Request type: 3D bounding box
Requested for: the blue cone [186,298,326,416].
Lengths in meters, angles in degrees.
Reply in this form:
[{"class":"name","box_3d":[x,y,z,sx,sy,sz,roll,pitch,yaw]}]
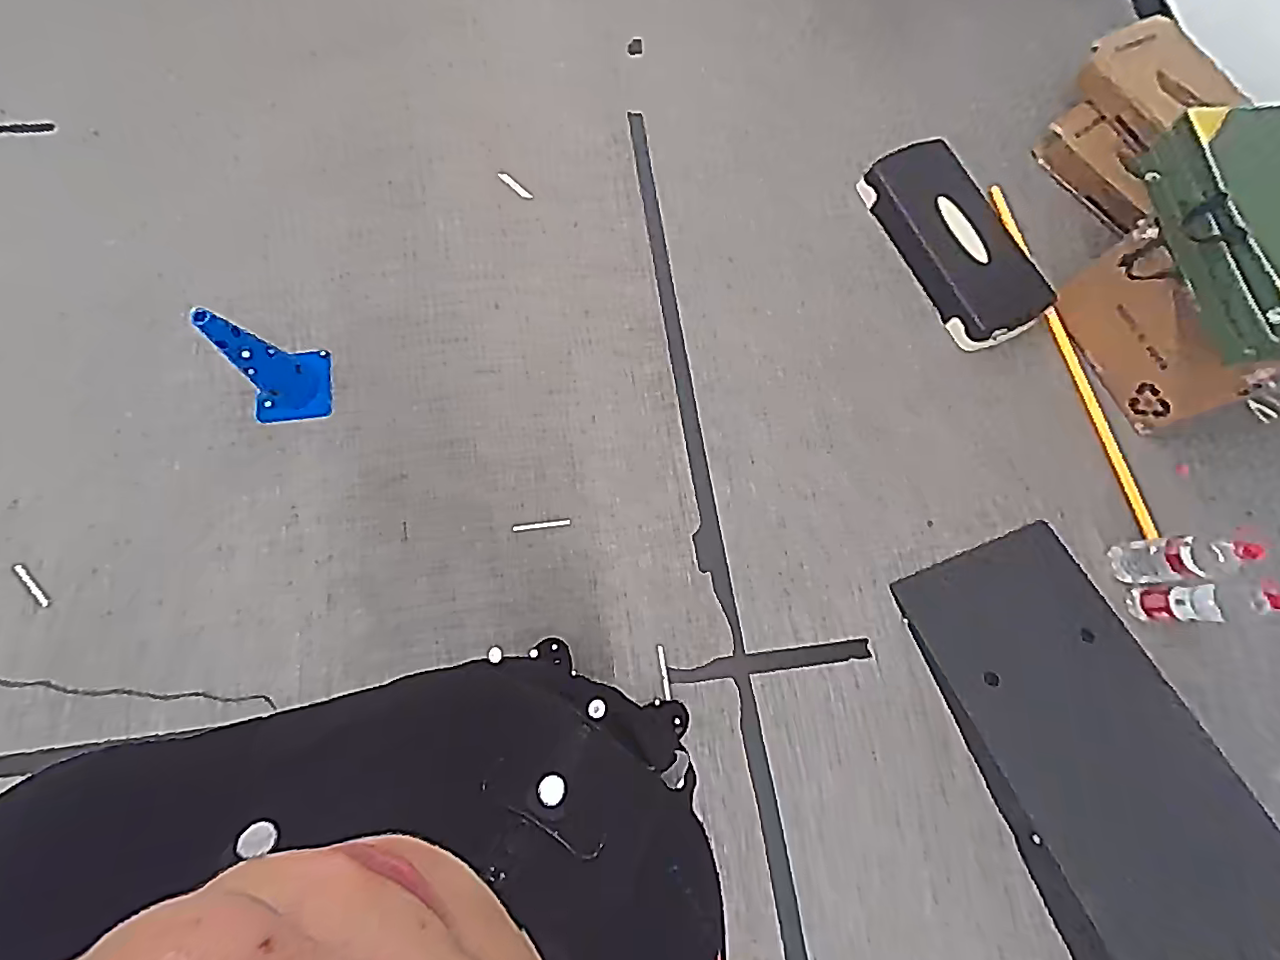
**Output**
[{"class":"blue cone","box_3d":[-0.951,-0.312,1.322,0.193,0.380,0.192,-6,75,-4]}]
